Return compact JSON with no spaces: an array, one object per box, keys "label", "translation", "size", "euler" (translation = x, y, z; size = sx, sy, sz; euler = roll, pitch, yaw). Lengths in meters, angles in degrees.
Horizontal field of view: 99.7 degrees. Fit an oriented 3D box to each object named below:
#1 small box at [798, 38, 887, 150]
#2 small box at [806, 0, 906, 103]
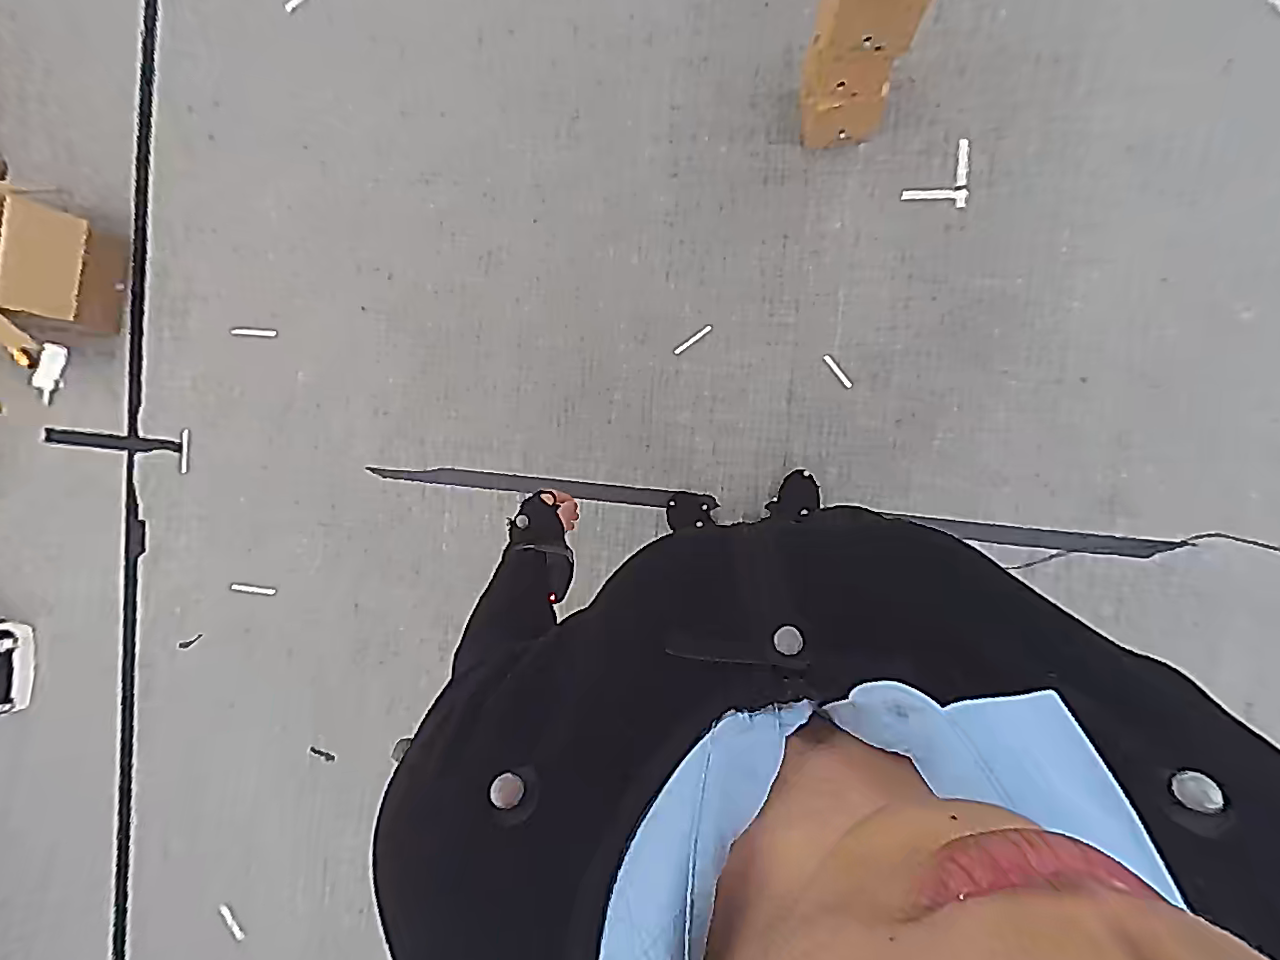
[{"label":"small box","translation":[0.496,-0.970,1.347],"size":[0.168,0.176,0.179],"euler":[-7,91,8]},{"label":"small box","translation":[0.468,-0.973,1.187],"size":[0.168,0.176,0.179],"euler":[5,92,7]}]
